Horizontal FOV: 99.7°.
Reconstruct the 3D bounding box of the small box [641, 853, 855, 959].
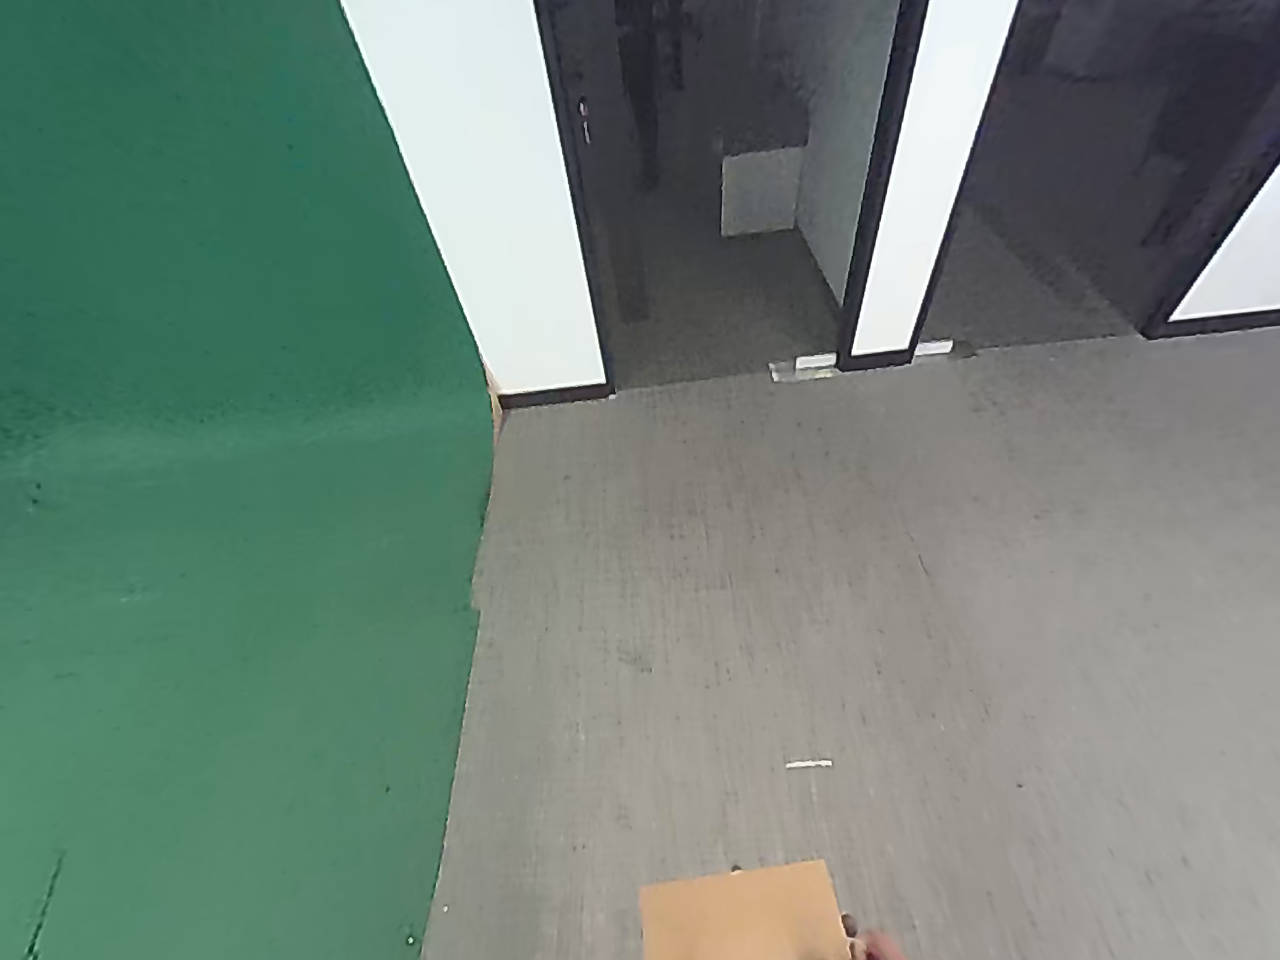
[{"bbox_3d":[0.097,0.446,0.459,0.168,0.176,0.179,-10,45,3],"label":"small box"}]
